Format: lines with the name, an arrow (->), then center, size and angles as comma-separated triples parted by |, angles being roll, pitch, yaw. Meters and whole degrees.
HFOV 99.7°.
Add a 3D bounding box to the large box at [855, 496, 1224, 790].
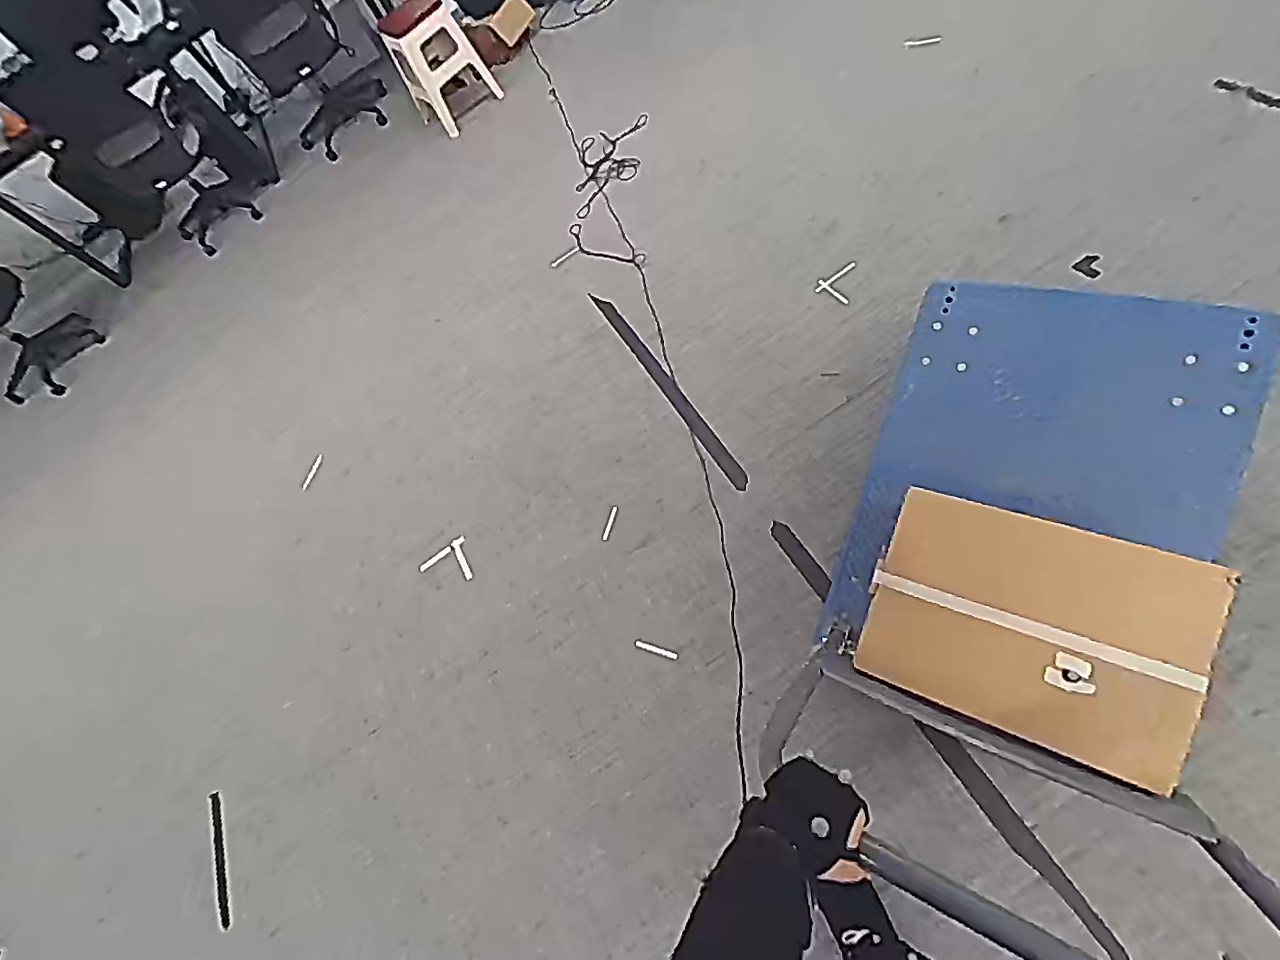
large box -> 0.626, 0.241, 0.939 | 0.408, 0.320, 0.320 | 18, 90, 26
